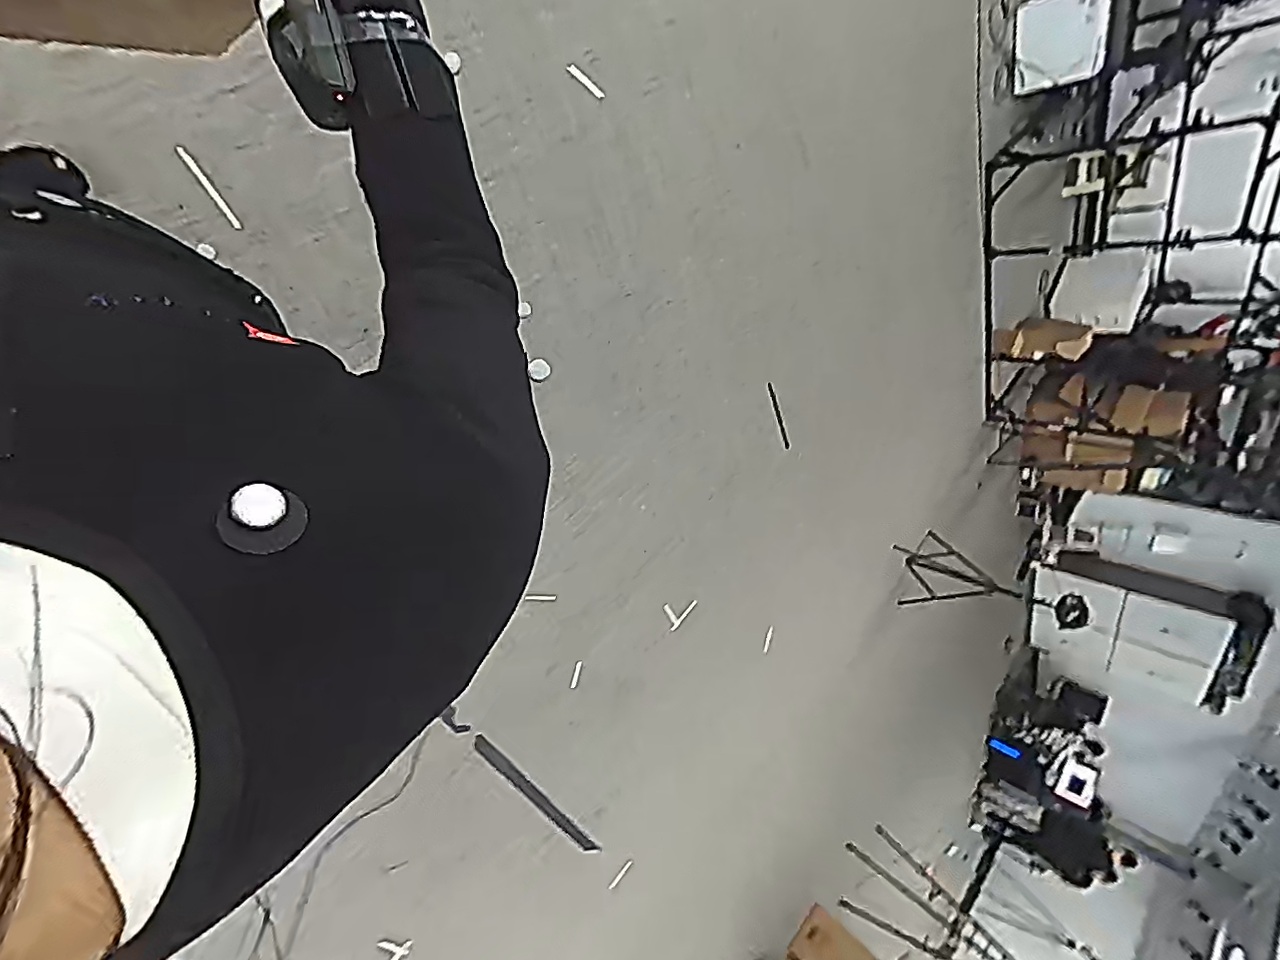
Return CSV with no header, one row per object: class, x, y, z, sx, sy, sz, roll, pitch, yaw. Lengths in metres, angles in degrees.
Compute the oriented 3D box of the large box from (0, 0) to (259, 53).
large box,-0.460,-0.417,0.235,0.408,0.320,0.320,-24,128,-35
